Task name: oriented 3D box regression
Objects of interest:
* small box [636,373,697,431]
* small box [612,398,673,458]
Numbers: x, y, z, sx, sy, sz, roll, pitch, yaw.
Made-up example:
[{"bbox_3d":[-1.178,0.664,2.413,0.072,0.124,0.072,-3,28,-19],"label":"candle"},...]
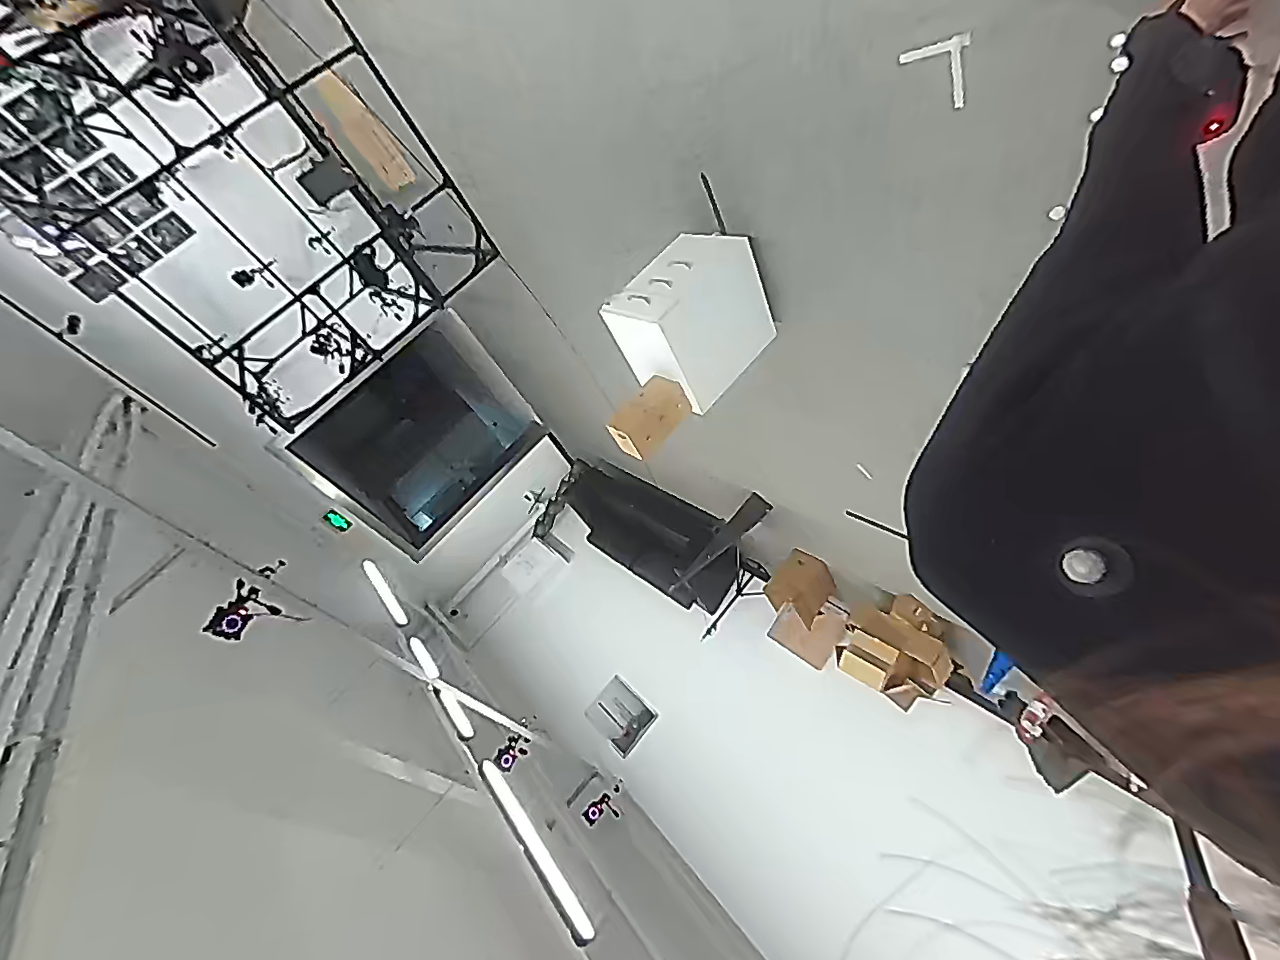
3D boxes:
[{"bbox_3d":[0.120,-0.352,2.406,0.179,0.176,0.168,29,162,46],"label":"small box"},{"bbox_3d":[0.014,-0.232,2.366,0.168,0.176,0.179,30,163,45],"label":"small box"}]
